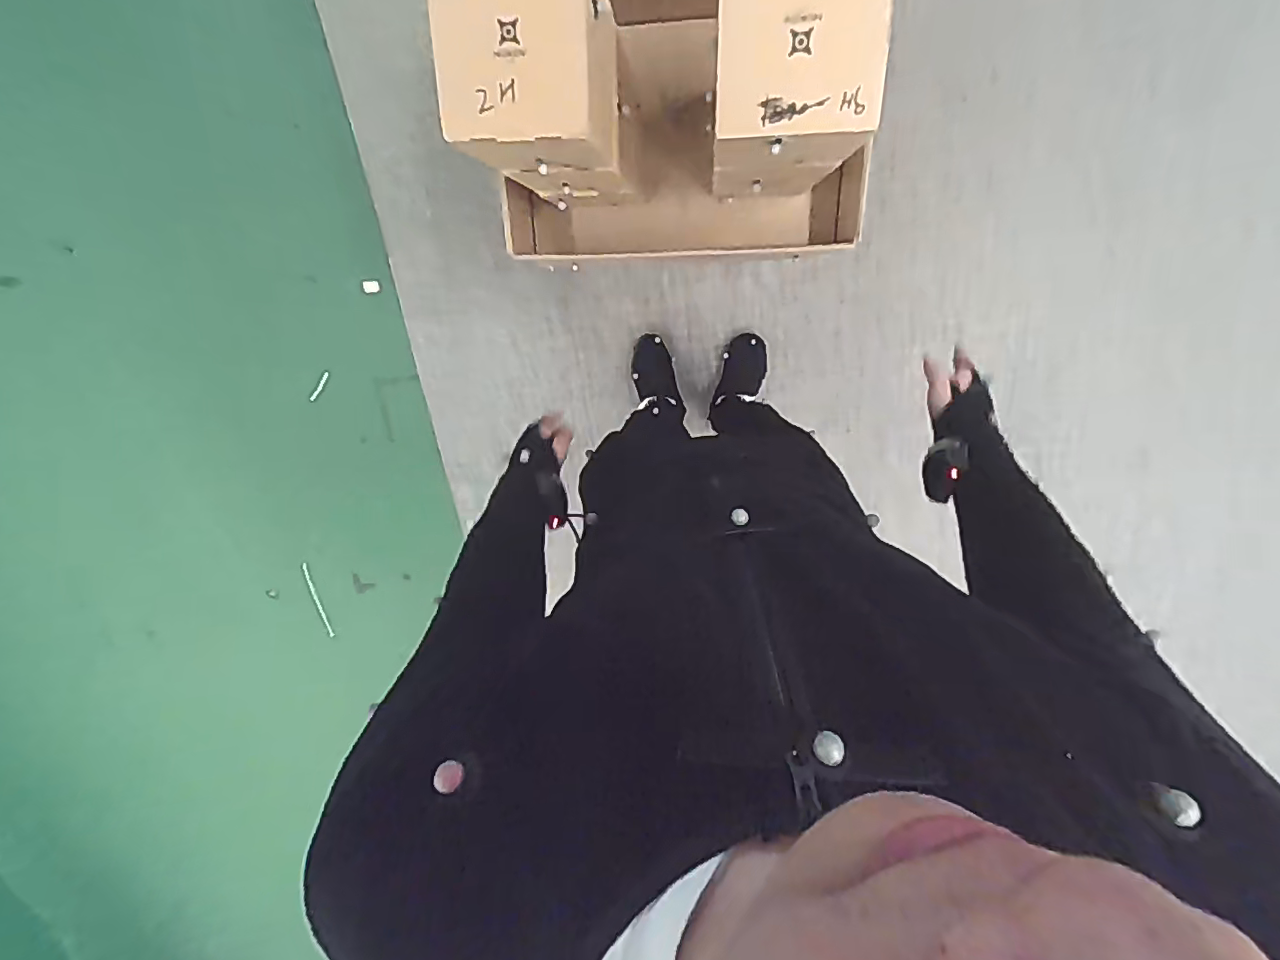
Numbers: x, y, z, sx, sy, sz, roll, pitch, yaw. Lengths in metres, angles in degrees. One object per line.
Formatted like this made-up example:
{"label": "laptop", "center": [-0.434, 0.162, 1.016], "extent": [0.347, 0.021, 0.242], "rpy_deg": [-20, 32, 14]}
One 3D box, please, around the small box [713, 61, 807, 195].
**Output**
{"label": "small box", "center": [0.210, -0.582, 0.902], "extent": [0.168, 0.176, 0.179], "rpy_deg": [3, 110, 6]}

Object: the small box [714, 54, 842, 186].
{"label": "small box", "center": [0.191, -0.521, 0.752], "extent": [0.168, 0.176, 0.179], "rpy_deg": [3, 111, 7]}

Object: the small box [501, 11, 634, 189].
{"label": "small box", "center": [-0.101, -0.535, 0.786], "extent": [0.168, 0.176, 0.179], "rpy_deg": [3, 111, 6]}

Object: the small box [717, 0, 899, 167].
{"label": "small box", "center": [0.172, -0.464, 0.599], "extent": [0.168, 0.176, 0.179], "rpy_deg": [2, 110, 7]}

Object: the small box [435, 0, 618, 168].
{"label": "small box", "center": [-0.121, -0.482, 0.630], "extent": [0.168, 0.176, 0.179], "rpy_deg": [4, 111, 6]}
